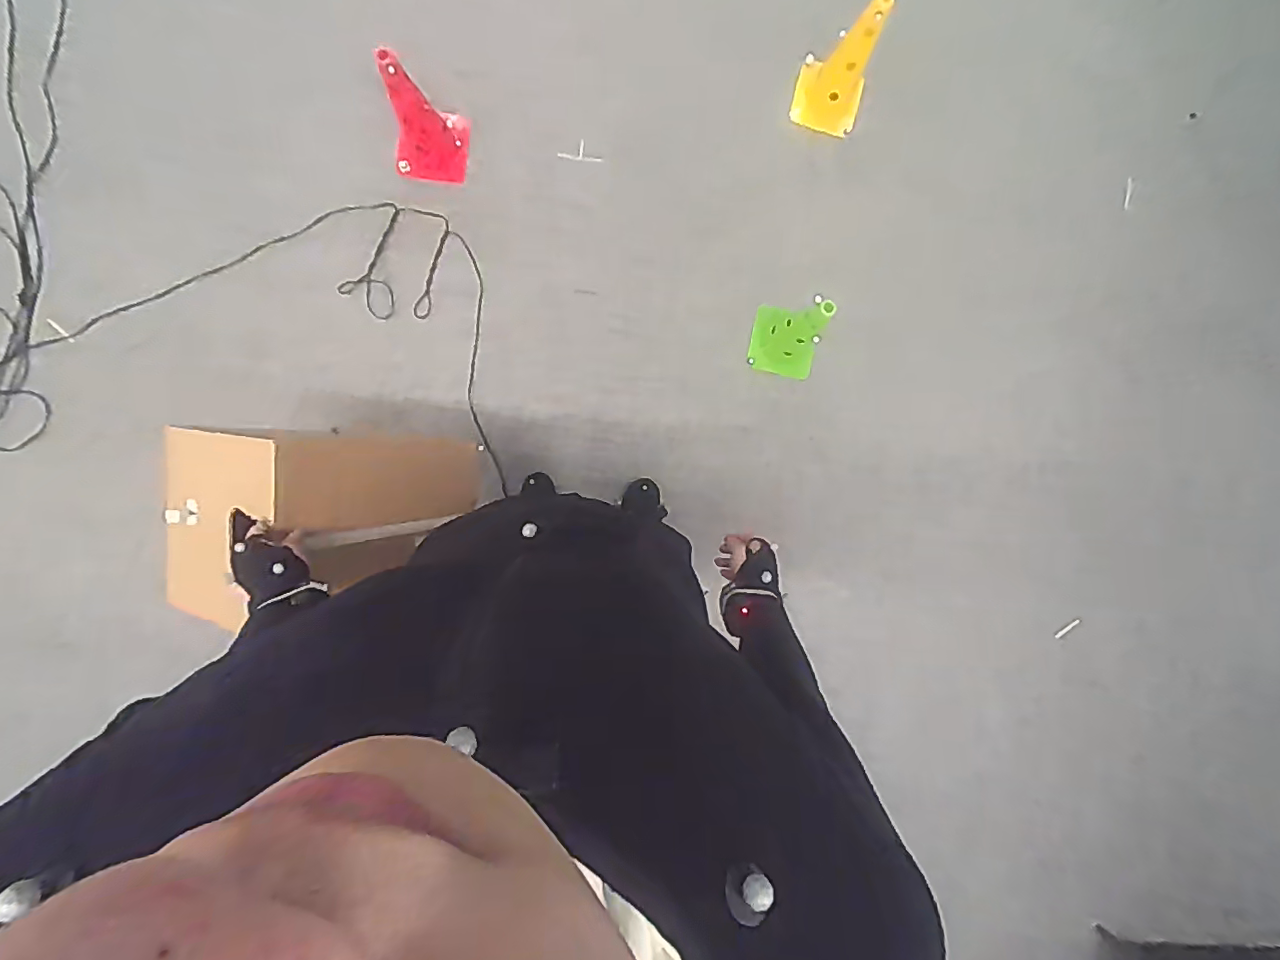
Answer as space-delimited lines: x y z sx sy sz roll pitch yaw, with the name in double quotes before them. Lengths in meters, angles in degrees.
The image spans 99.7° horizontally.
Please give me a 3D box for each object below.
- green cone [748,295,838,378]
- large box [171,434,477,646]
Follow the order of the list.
"green cone" 0.454 -0.426 1.491 0.200 0.368 0.202 11 89 -4
"large box" -0.571 0.073 1.028 0.320 0.408 0.320 7 96 25
